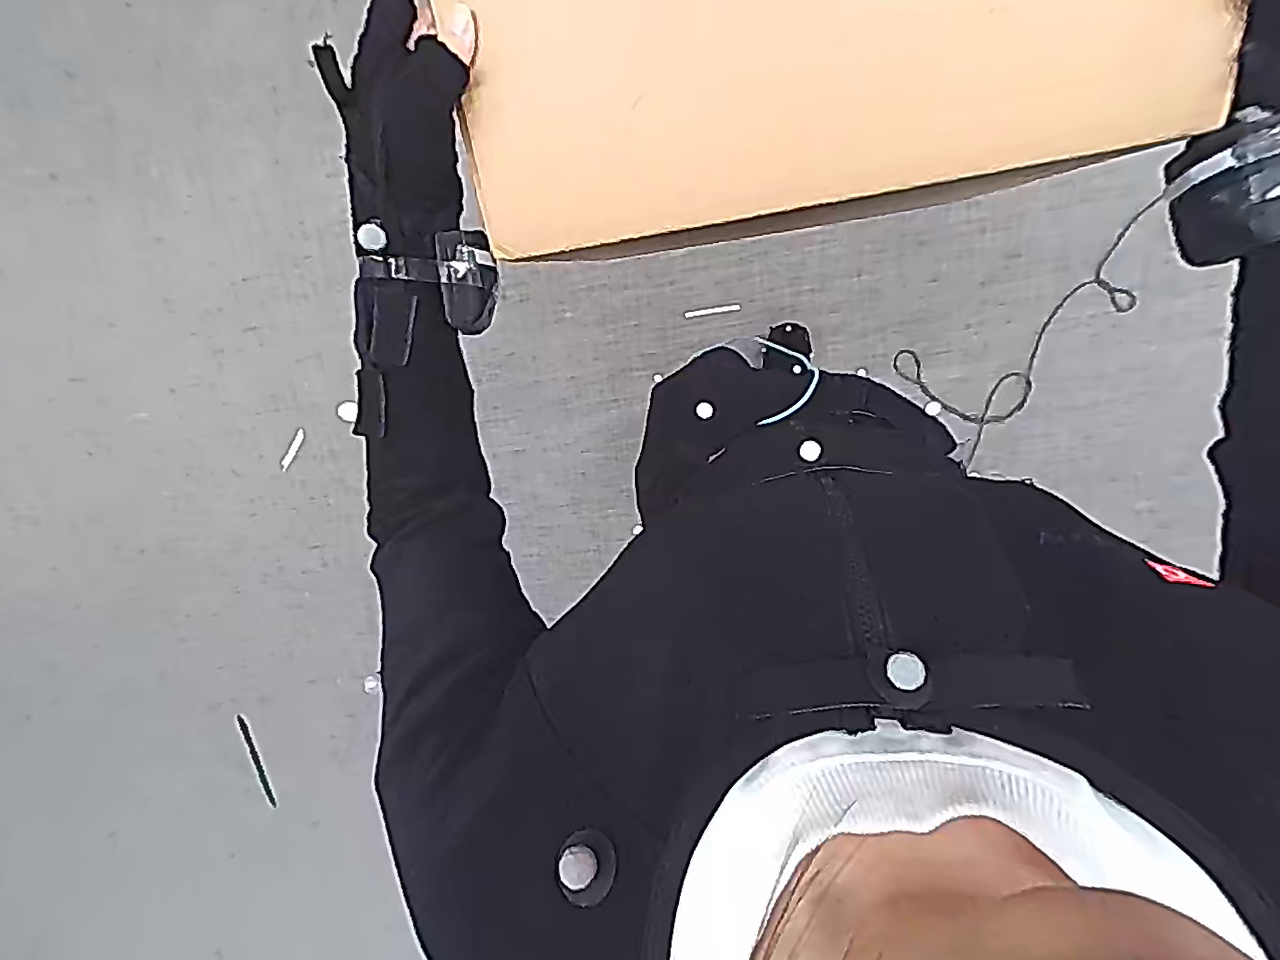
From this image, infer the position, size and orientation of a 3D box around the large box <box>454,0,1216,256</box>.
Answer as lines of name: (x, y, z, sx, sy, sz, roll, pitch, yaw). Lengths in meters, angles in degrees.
large box: (0.100, -0.372, 0.413, 0.408, 0.320, 0.320, -6, 111, 11)
